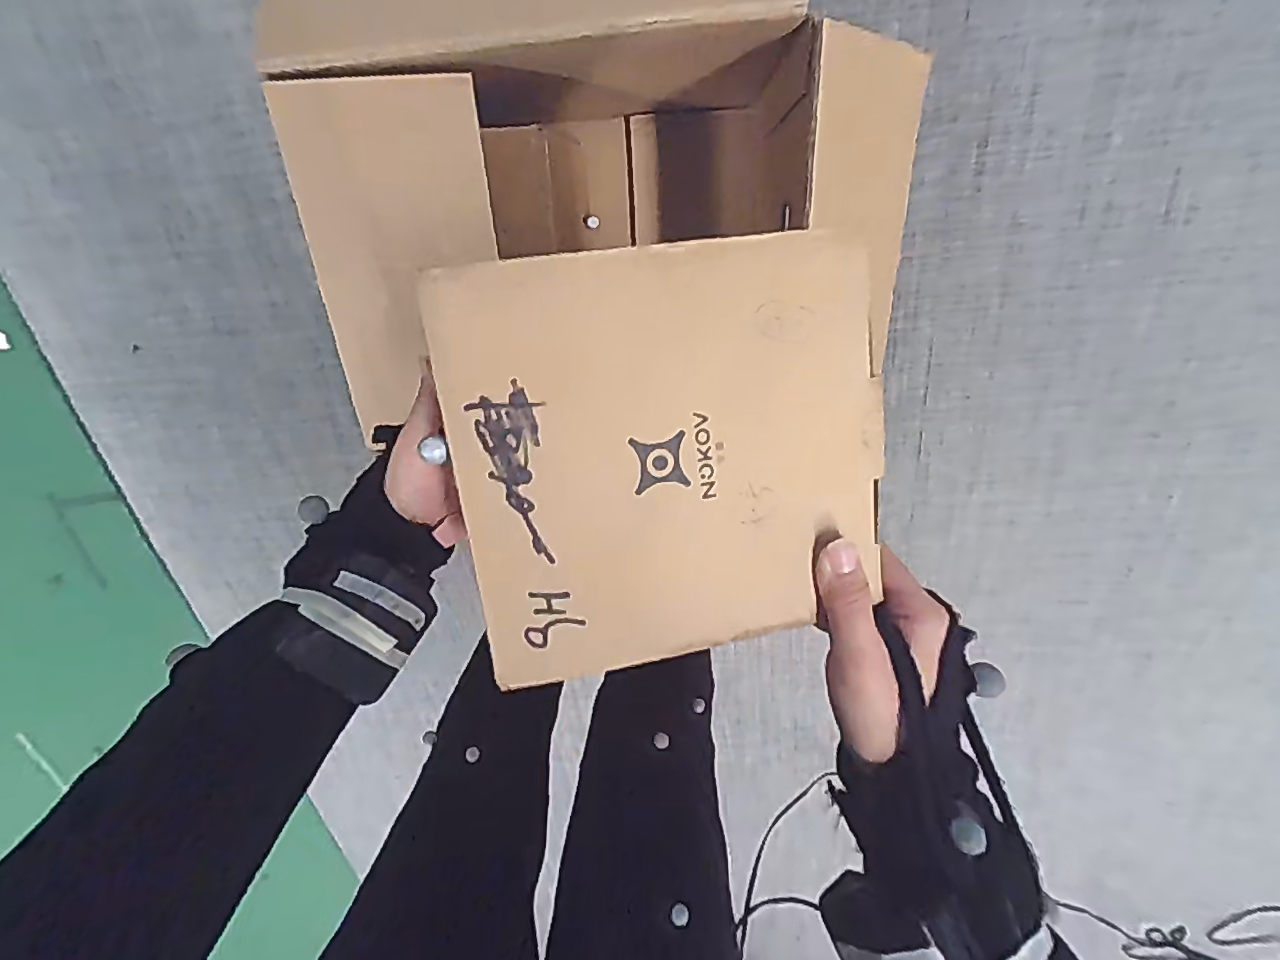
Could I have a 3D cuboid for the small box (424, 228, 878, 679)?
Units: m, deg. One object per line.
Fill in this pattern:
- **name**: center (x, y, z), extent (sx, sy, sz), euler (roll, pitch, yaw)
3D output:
- **small box**: center (0.001, -0.026, 0.293), extent (0.179, 0.176, 0.168), euler (-9, 103, -10)
